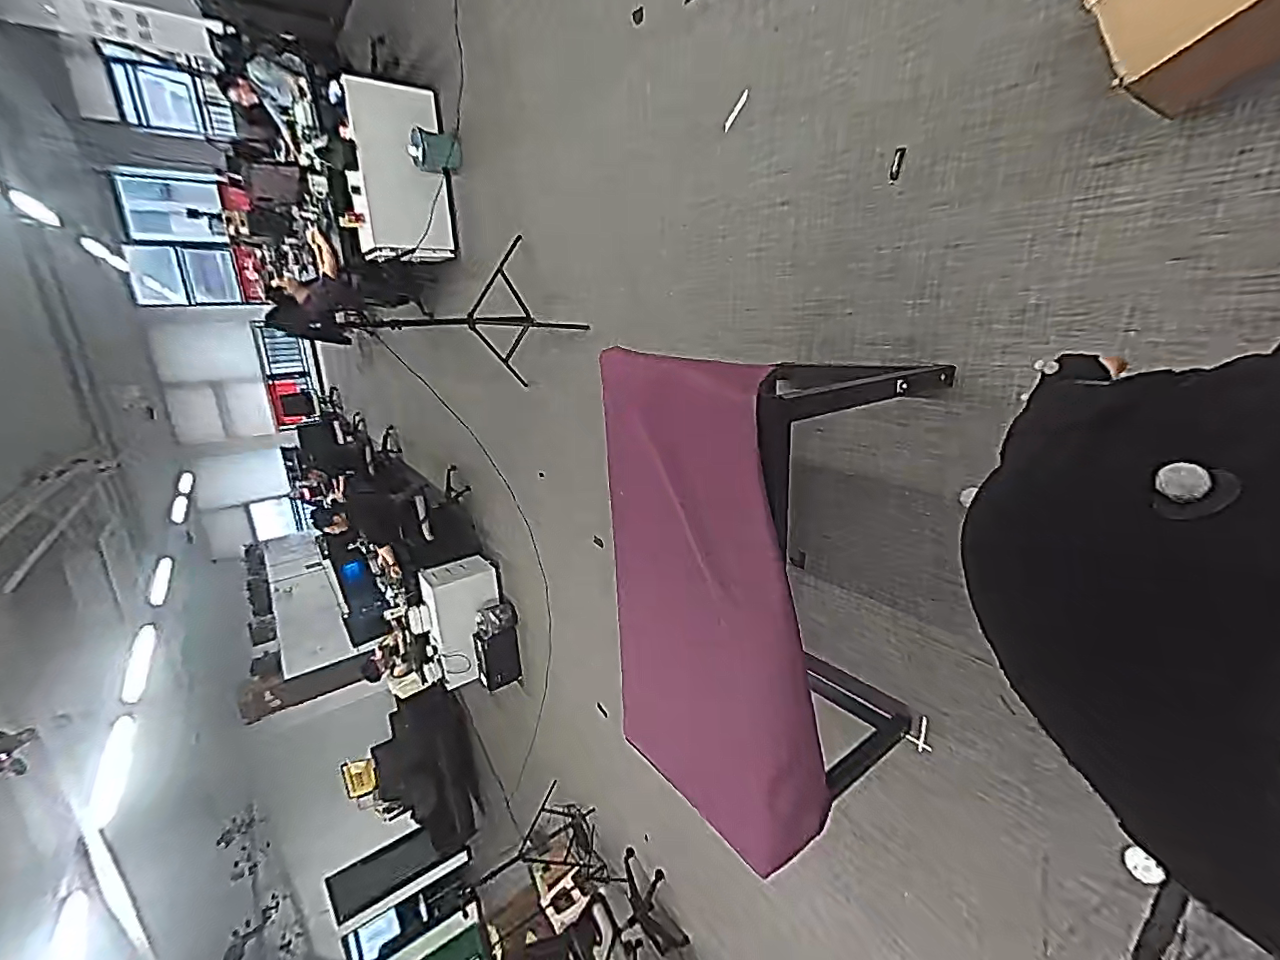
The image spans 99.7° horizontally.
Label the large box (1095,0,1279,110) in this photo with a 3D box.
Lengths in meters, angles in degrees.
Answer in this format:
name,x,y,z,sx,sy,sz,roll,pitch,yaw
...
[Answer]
name,x,y,z,sx,sy,sz,roll,pitch,yaw
large box,0.947,-0.842,0.776,0.408,0.320,0.320,-25,81,57
